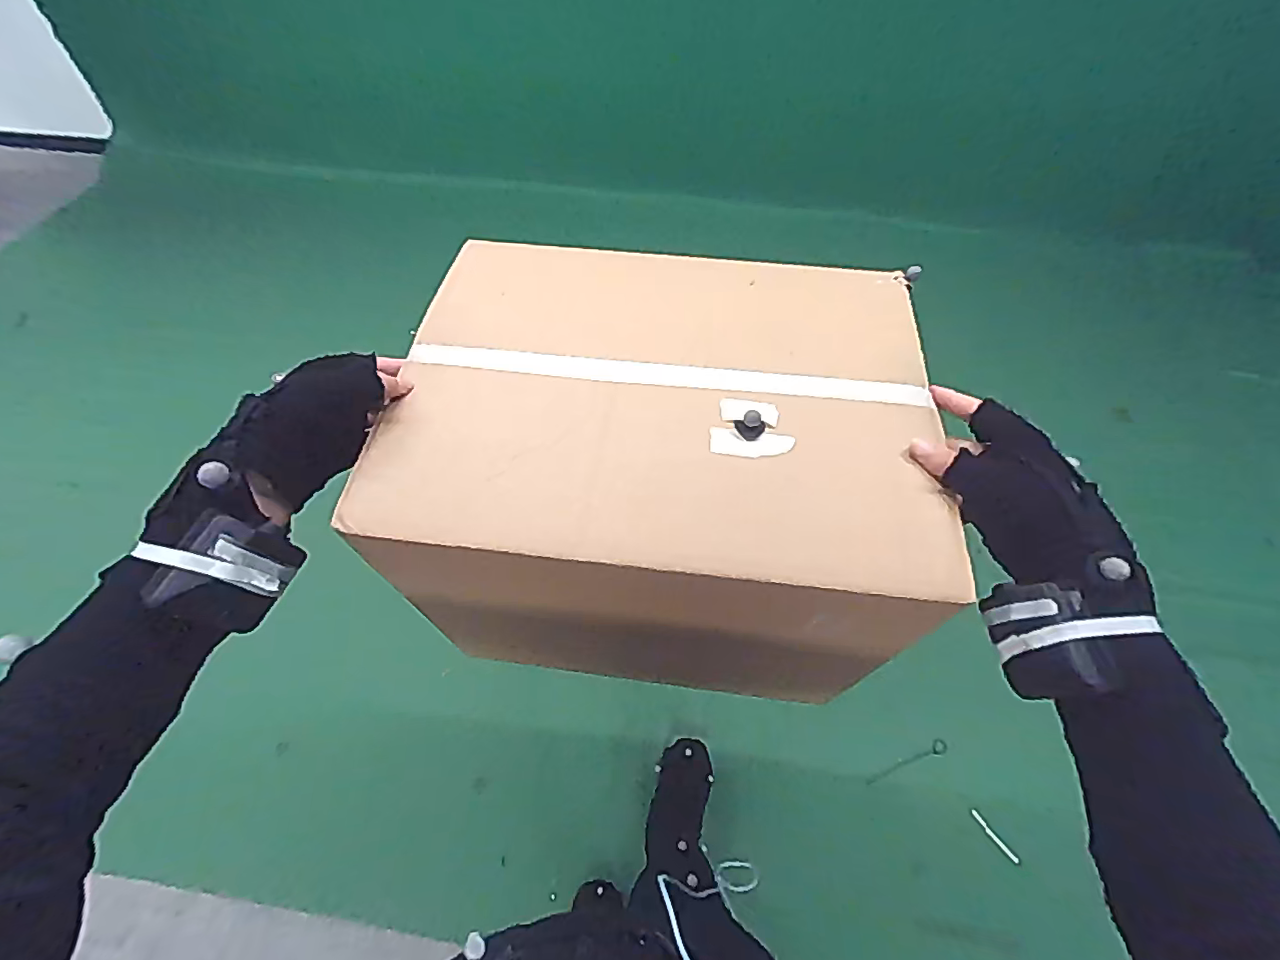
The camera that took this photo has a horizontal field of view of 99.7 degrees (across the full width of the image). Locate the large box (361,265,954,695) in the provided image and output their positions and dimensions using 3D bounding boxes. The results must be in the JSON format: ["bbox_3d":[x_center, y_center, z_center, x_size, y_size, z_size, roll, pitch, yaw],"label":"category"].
[{"bbox_3d":[0.020,0.012,0.560,0.408,0.320,0.320,5,58,4],"label":"large box"}]
